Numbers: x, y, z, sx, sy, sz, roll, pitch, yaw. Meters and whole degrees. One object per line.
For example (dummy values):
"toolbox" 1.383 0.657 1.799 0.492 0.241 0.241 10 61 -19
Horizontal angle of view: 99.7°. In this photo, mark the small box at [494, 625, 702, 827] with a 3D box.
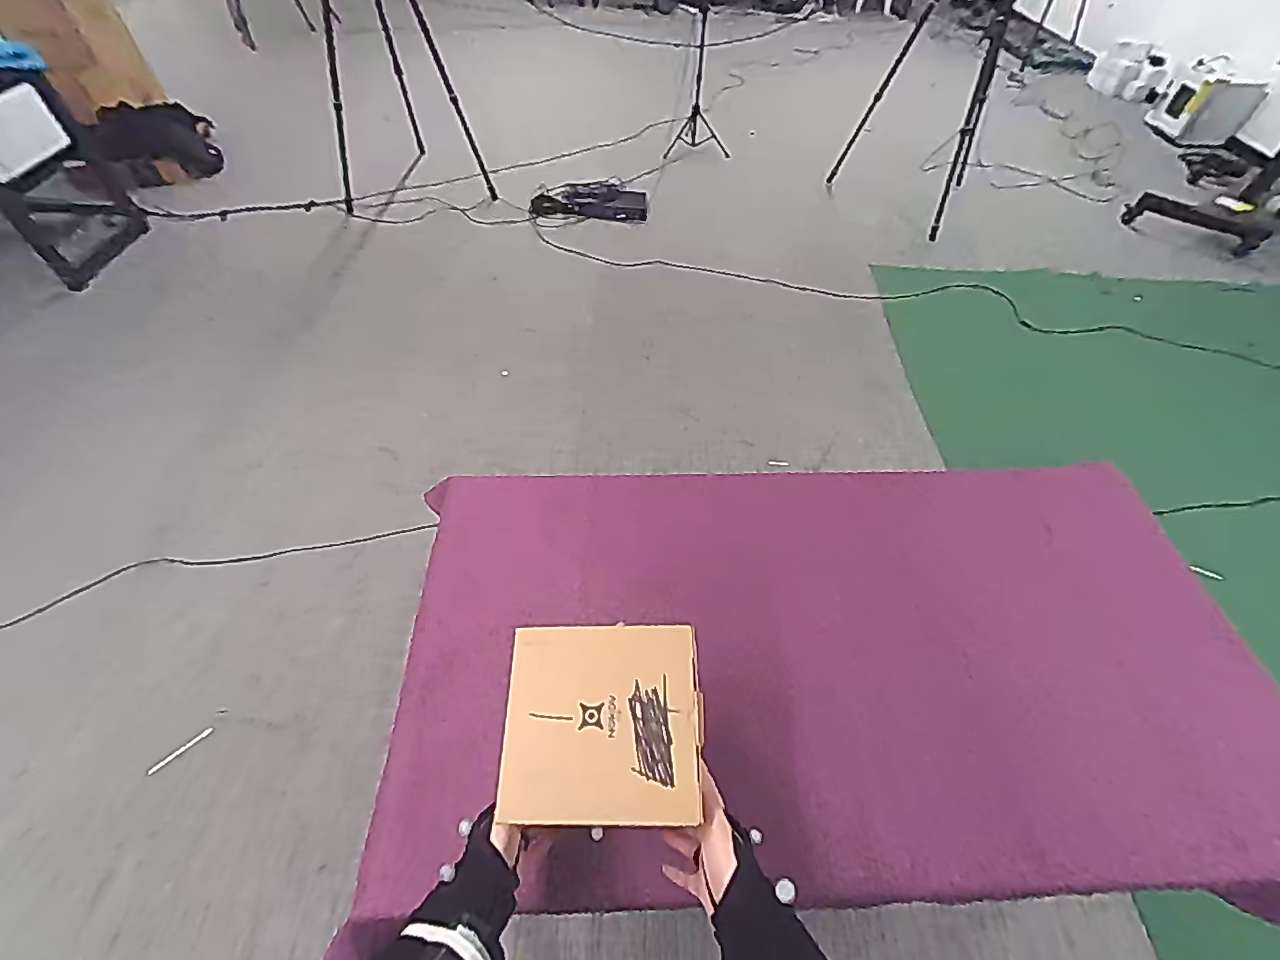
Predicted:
"small box" -0.030 0.251 0.556 0.179 0.176 0.168 -2 60 4
